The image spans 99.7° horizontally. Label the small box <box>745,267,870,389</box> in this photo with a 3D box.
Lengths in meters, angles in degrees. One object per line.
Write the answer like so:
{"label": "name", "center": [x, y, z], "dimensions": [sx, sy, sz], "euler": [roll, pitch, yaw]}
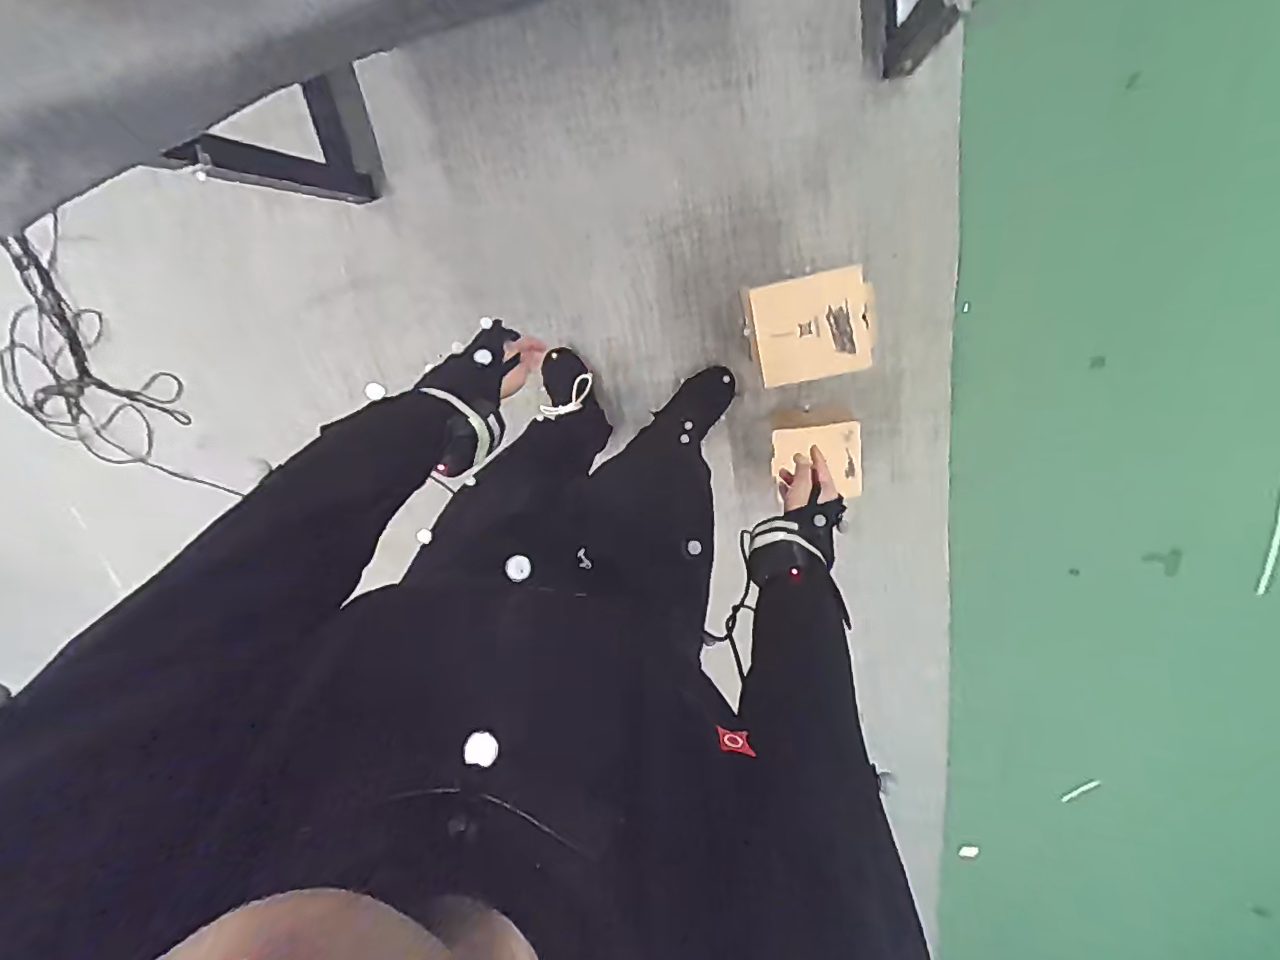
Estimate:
{"label": "small box", "center": [0.285, -0.268, 0.943], "dimensions": [0.179, 0.176, 0.168], "euler": [-10, 108, 13]}

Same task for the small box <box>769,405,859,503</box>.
{"label": "small box", "center": [0.375, -0.060, 1.184], "dimensions": [0.179, 0.176, 0.168], "euler": [-4, 111, 12]}

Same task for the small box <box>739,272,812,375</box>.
{"label": "small box", "center": [0.303, -0.322, 1.097], "dimensions": [0.179, 0.176, 0.168], "euler": [-10, 108, 13]}
